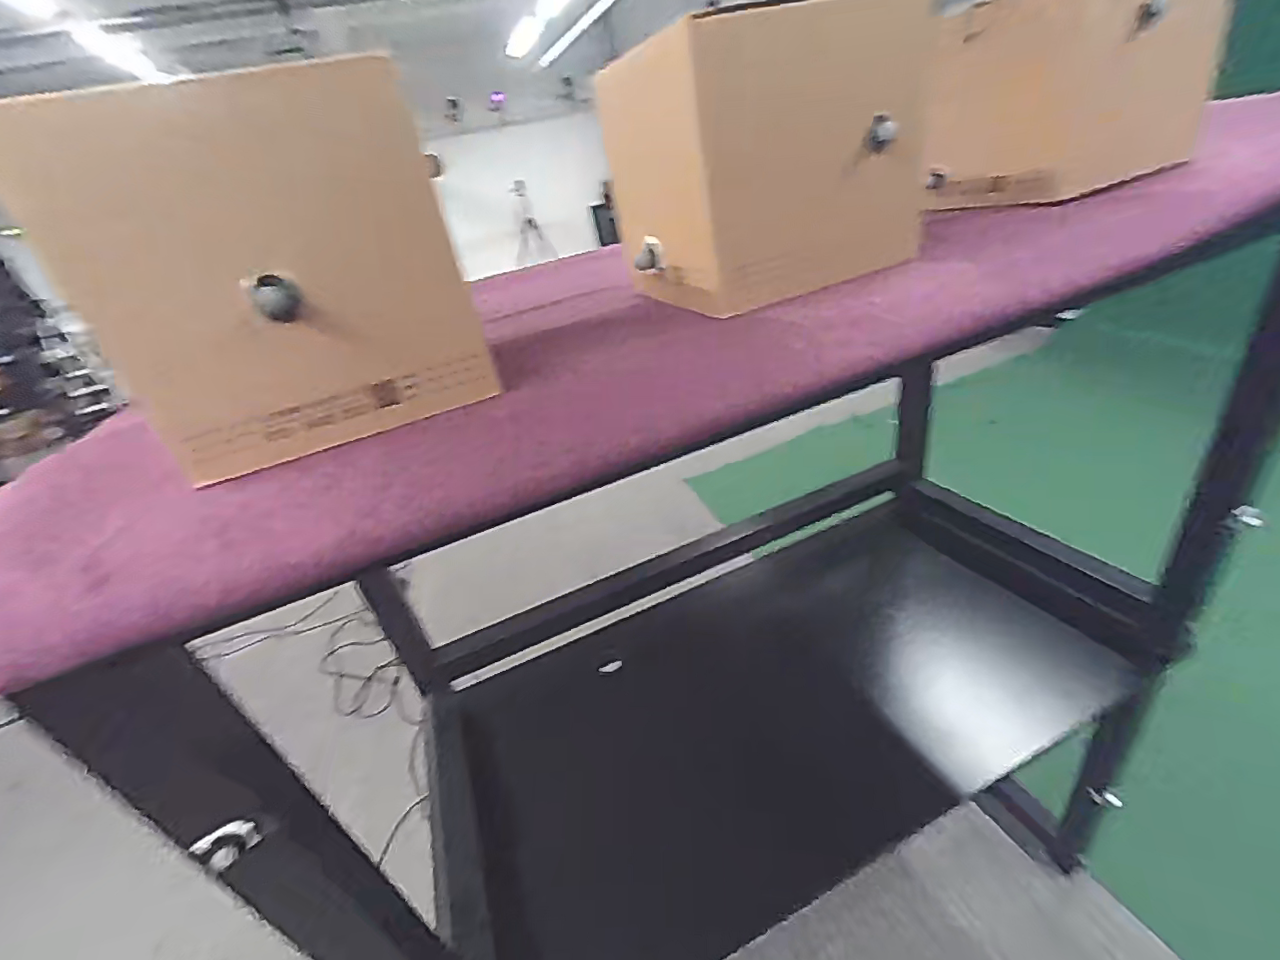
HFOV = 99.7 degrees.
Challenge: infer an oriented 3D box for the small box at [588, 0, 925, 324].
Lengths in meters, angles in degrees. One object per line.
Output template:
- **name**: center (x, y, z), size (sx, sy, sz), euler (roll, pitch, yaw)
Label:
- **small box**: center (0.082, -0.236, 0.415), size (0.179, 0.176, 0.168), euler (-23, 31, -15)

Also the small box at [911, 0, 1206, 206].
- **small box**: center (0.387, -0.370, 0.520), size (0.179, 0.176, 0.168), euler (-21, 29, -13)

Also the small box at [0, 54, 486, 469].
- **small box**: center (-0.206, -0.123, 0.326), size (0.168, 0.176, 0.179), euler (-21, 32, -16)
